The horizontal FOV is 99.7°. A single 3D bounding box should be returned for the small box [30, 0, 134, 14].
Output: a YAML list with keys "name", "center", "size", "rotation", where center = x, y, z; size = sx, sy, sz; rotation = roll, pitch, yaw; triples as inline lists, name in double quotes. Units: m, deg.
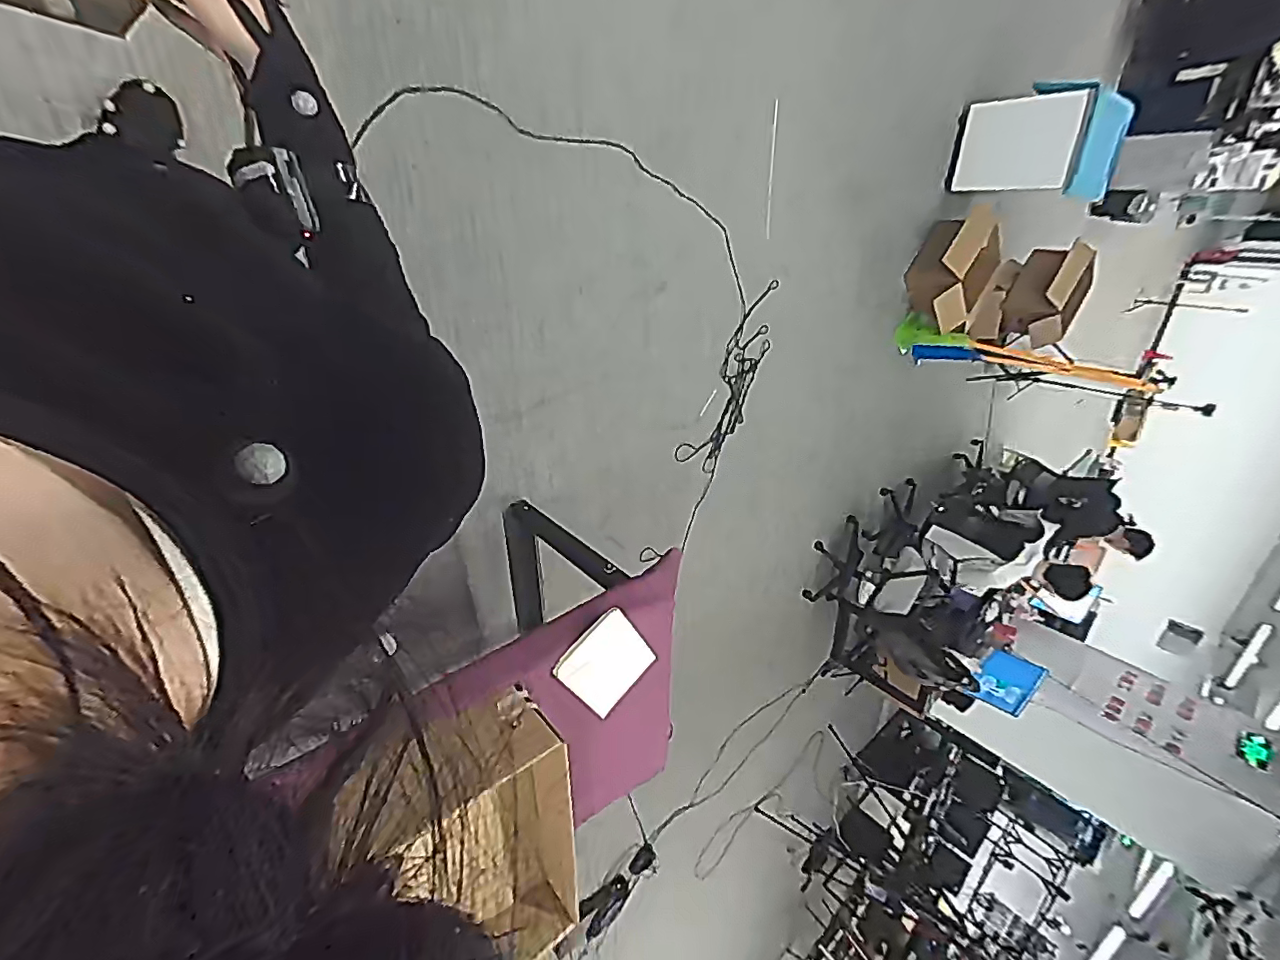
- name: "small box"
  center: [-0.424, -0.410, 0.315]
  size: [0.179, 0.176, 0.168]
  rotation: [-14, 121, -44]
